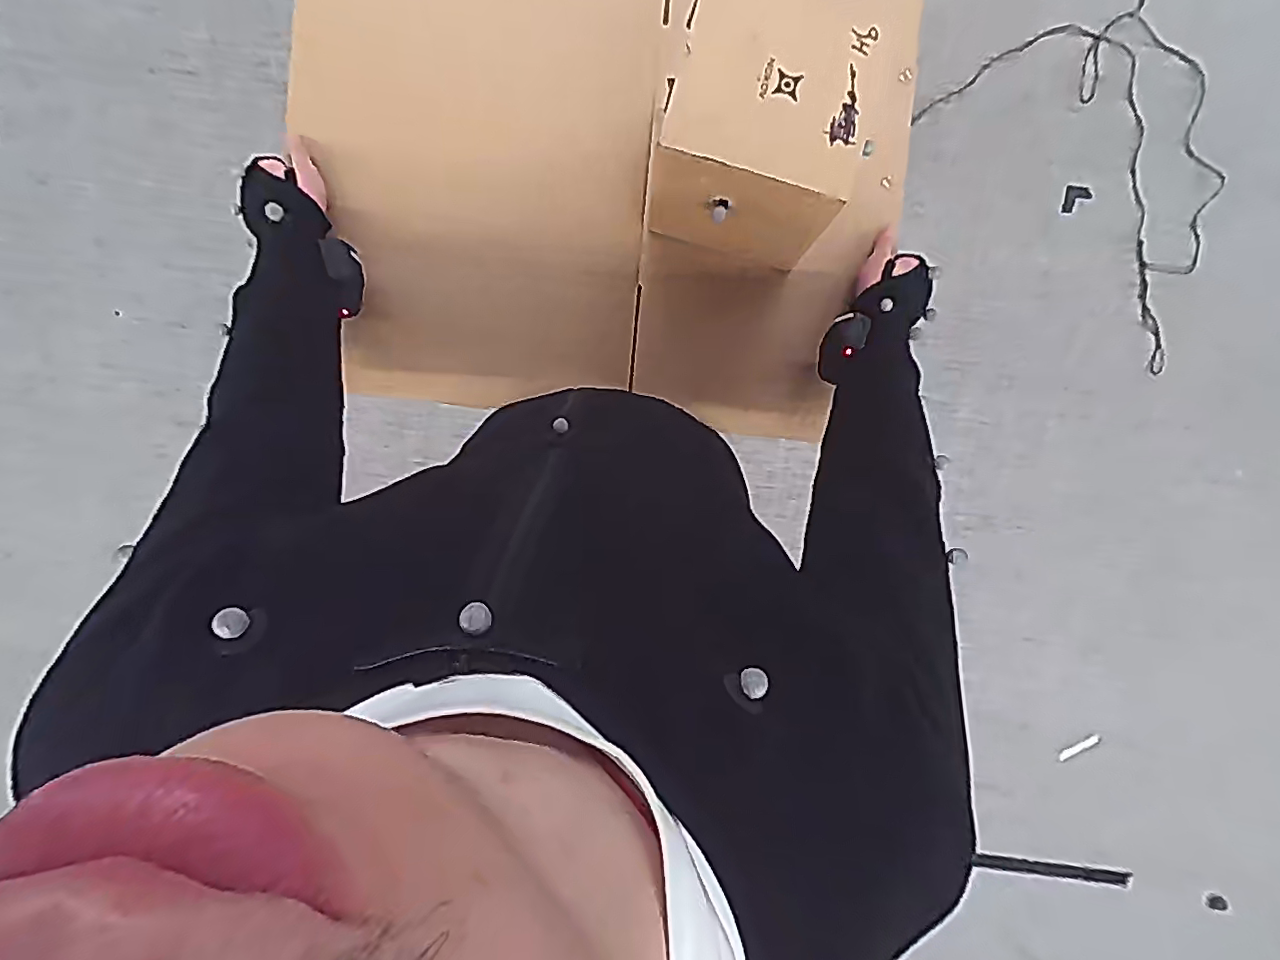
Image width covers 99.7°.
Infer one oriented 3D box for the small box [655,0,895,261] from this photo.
[{"bbox_3d":[0.118,-0.348,0.551,0.179,0.176,0.168,16,91,-1],"label":"small box"}]
